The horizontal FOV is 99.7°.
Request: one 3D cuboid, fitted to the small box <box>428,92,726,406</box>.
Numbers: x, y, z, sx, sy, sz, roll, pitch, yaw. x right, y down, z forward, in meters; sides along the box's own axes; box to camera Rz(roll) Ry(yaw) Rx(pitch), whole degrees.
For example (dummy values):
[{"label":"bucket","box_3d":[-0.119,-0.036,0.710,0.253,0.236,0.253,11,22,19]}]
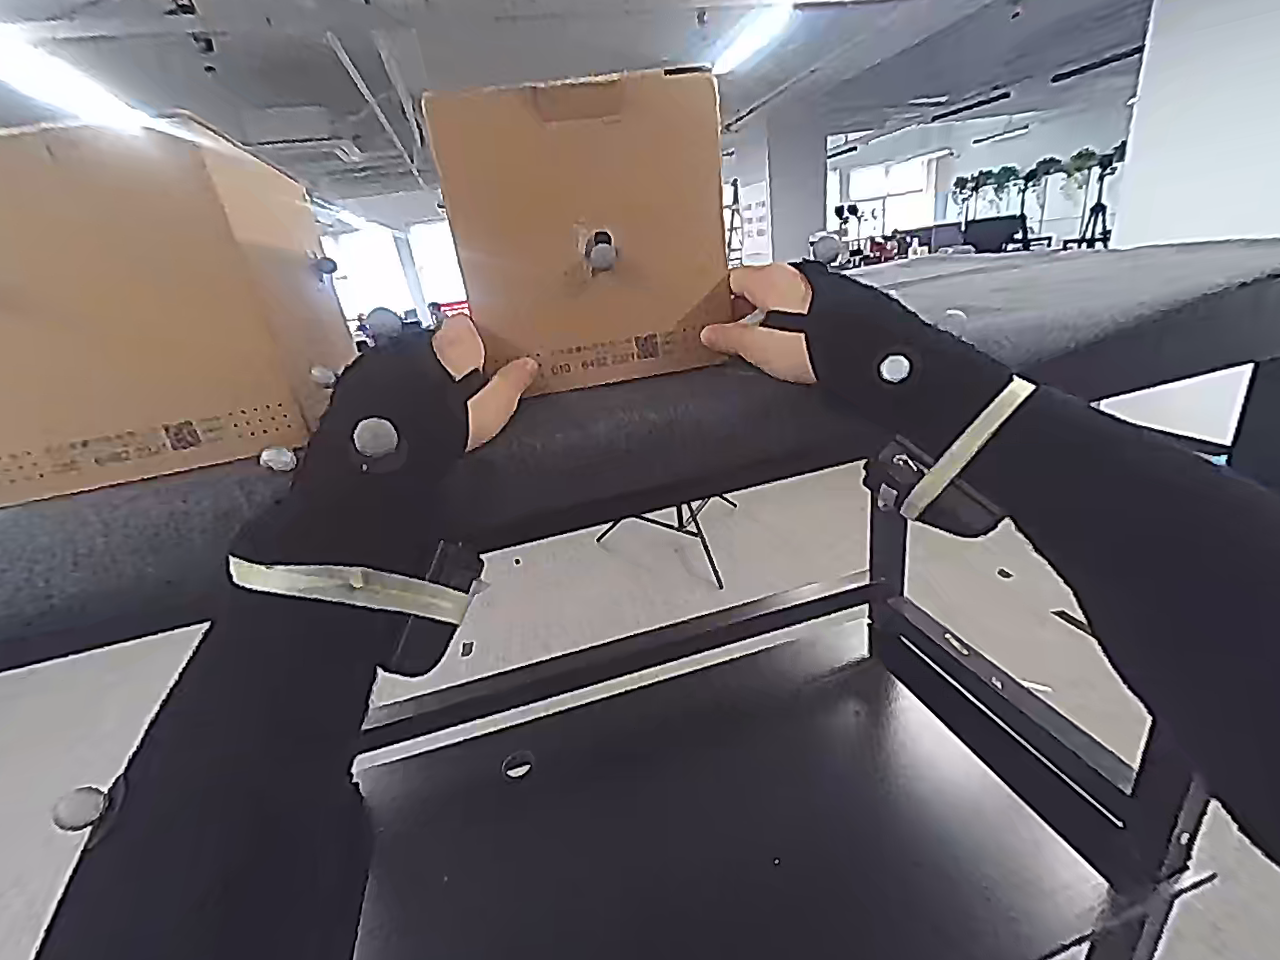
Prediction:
[{"label":"small box","box_3d":[-0.044,-0.159,0.404,0.168,0.176,0.179,-12,22,-11]}]
